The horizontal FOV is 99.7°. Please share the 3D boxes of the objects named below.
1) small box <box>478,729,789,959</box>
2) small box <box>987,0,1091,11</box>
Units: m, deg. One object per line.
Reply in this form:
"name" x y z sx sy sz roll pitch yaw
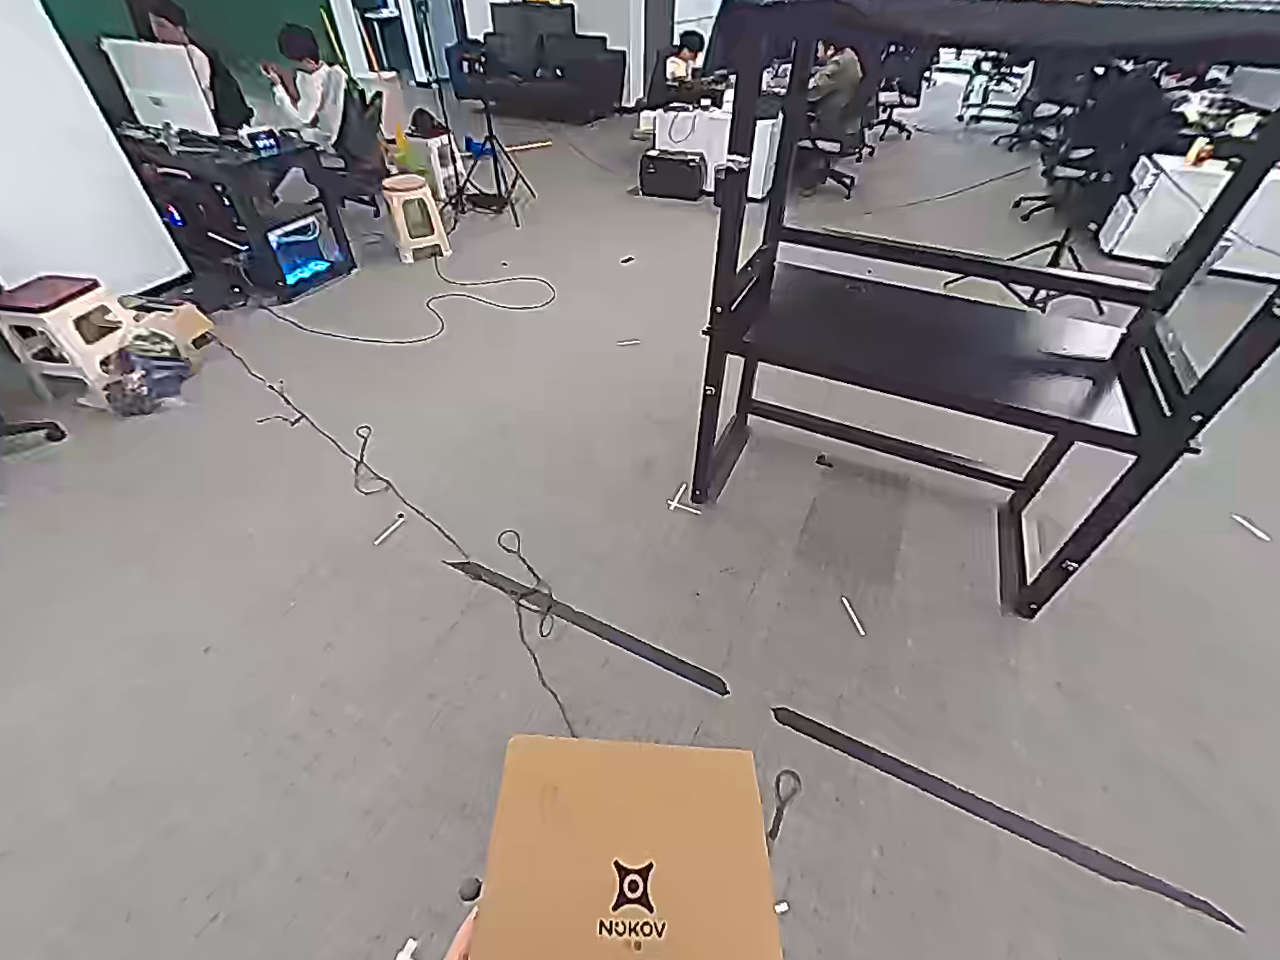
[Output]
"small box" -0.012 0.290 0.351 0.168 0.176 0.179 6 43 -4
"small box" 0.739 -0.949 0.956 0.168 0.176 0.179 18 44 17
